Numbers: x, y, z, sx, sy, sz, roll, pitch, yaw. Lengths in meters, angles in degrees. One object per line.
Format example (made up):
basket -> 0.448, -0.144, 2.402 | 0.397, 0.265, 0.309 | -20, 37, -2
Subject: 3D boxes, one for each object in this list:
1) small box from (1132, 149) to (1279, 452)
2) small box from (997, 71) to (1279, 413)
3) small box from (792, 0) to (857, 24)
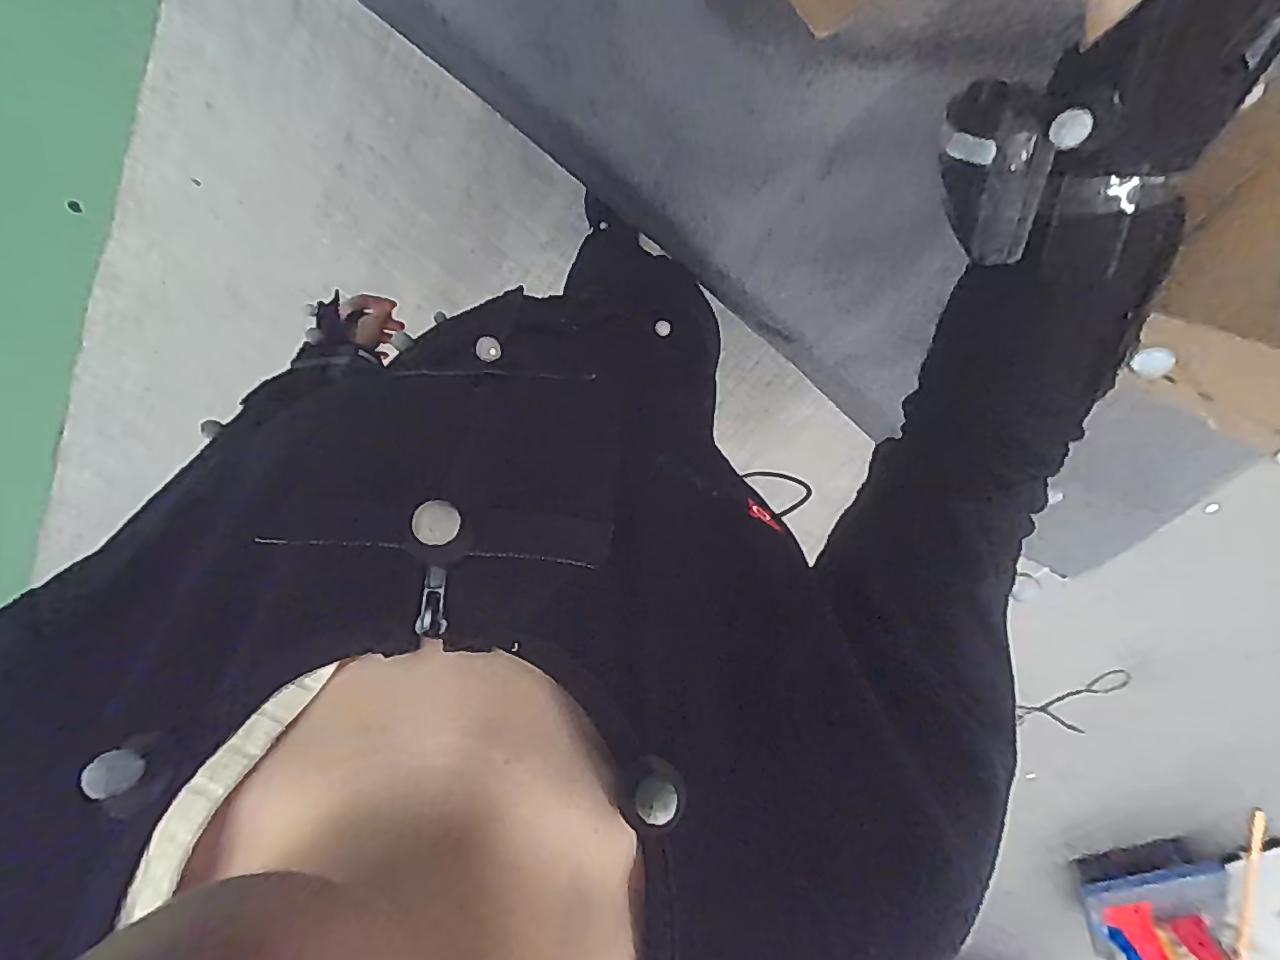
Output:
small box -> 0.452, -0.108, 0.315 | 0.168, 0.176, 0.179 | 34, 114, -20
small box -> 0.446, -0.194, 0.453 | 0.168, 0.176, 0.179 | 31, 116, -18
small box -> 0.139, -0.420, 0.311 | 0.168, 0.176, 0.179 | 36, 113, -21
